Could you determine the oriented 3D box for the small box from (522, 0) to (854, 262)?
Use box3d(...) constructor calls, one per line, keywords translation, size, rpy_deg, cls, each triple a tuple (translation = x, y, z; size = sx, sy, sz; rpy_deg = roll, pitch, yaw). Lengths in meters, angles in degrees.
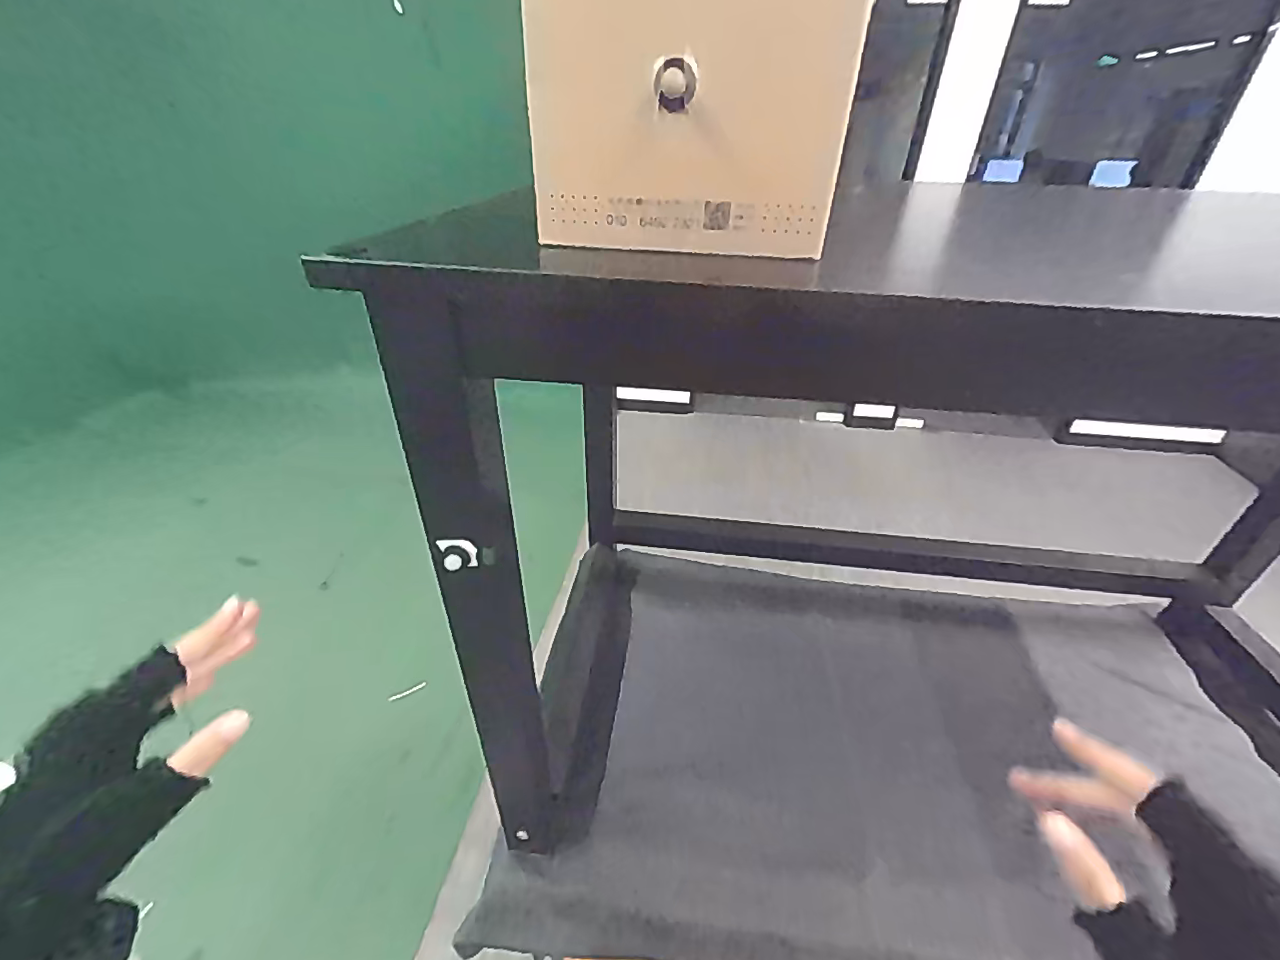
box3d(translation=(0.032, -0.244, 0.344), size=(0.168, 0.176, 0.179), rpy_deg=(6, 33, 5), cls="small box")
